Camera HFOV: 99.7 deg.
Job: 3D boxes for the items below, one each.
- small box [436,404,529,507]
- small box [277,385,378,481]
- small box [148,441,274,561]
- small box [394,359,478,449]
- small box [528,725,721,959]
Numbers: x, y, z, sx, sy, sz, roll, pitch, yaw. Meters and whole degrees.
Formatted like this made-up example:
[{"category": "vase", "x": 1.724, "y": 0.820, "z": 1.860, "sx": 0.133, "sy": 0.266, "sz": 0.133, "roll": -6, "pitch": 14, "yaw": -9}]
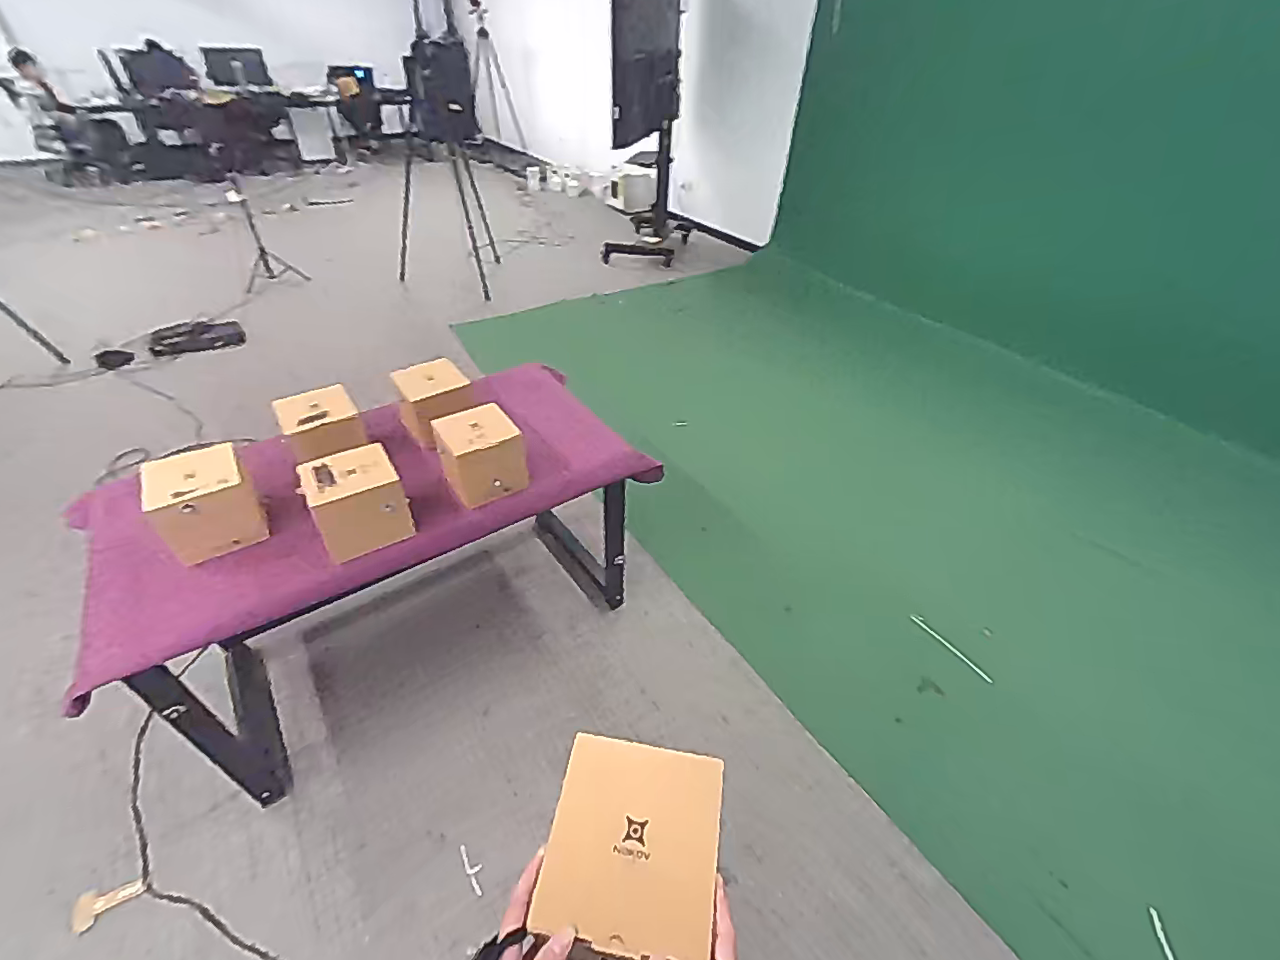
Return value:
[{"category": "small box", "x": -0.392, "y": -0.063, "z": 1.358, "sx": 0.168, "sy": 0.176, "sz": 0.179, "roll": -22, "pitch": 45, "yaw": -26}, {"category": "small box", "x": -0.803, "y": -0.117, "z": 1.400, "sx": 0.168, "sy": 0.176, "sz": 0.179, "roll": -24, "pitch": 47, "yaw": -28}, {"category": "small box", "x": -0.941, "y": 0.046, "z": 1.195, "sx": 0.168, "sy": 0.176, "sz": 0.179, "roll": -24, "pitch": 46, "yaw": -26}, {"category": "small box", "x": -0.570, "y": -0.214, "z": 1.532, "sx": 0.168, "sy": 0.176, "sz": 0.179, "roll": -25, "pitch": 49, "yaw": -28}, {"category": "small box", "x": -0.009, "y": 0.399, "z": 0.586, "sx": 0.168, "sy": 0.176, "sz": 0.179, "roll": 7, "pitch": 45, "yaw": 7}]
